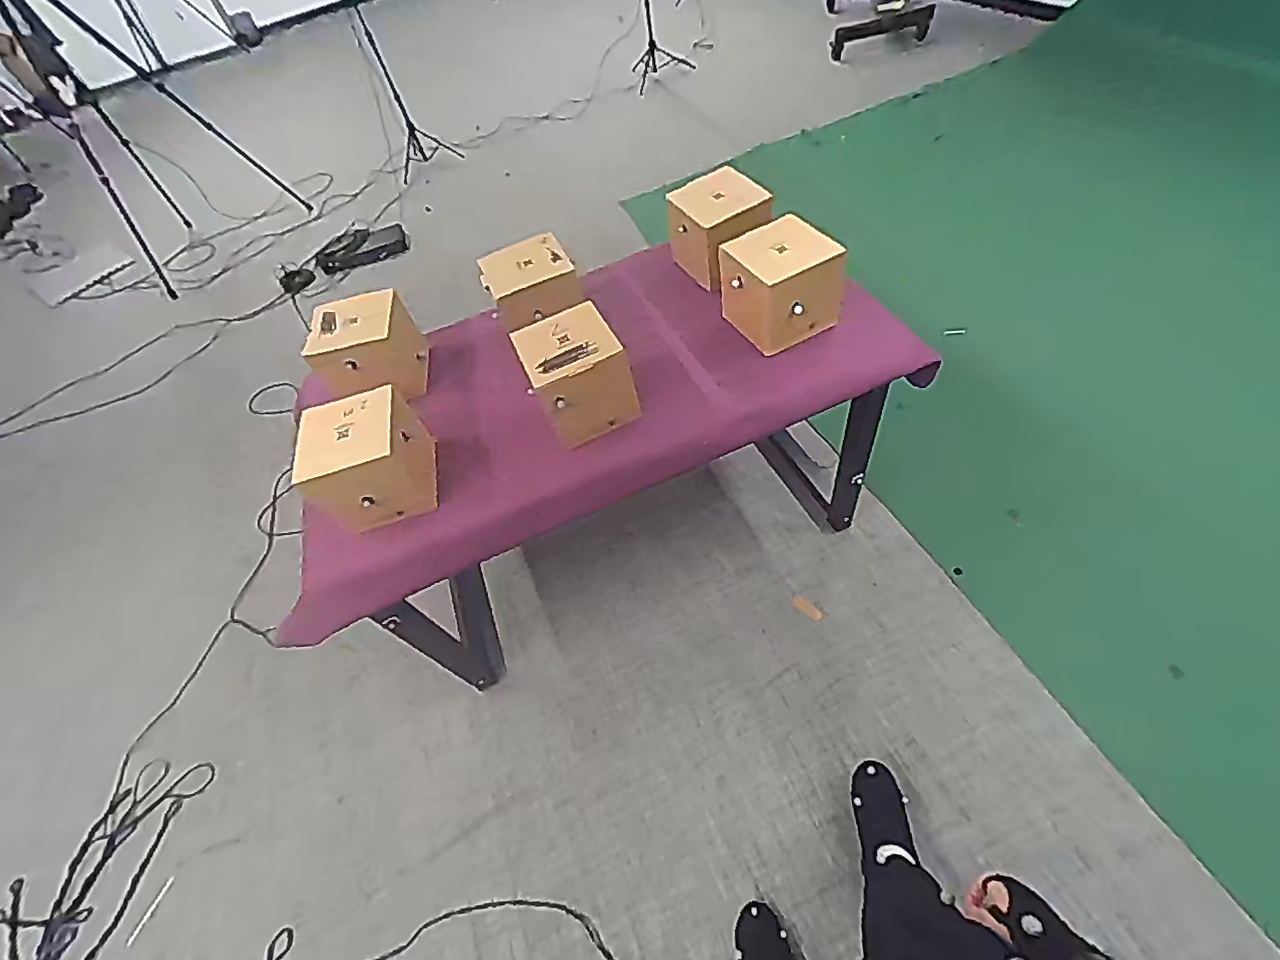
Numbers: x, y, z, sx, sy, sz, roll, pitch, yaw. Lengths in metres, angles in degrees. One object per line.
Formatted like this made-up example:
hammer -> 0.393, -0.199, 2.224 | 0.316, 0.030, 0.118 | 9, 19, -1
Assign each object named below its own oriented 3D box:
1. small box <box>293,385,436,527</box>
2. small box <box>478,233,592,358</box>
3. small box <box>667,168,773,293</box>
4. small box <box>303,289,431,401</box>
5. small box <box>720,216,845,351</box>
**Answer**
small box -> -0.479, -0.034, 0.969 | 0.168, 0.176, 0.179 | -17, 53, -2
small box -> -0.224, -0.396, 1.179 | 0.179, 0.176, 0.168 | -24, 56, -5
small box -> 0.179, -0.555, 1.212 | 0.168, 0.176, 0.179 | -28, 56, -7
small box -> -0.572, -0.274, 1.158 | 0.179, 0.176, 0.168 | -13, 55, 0
small box -> 0.277, -0.379, 1.065 | 0.168, 0.176, 0.179 | -27, 52, -7
